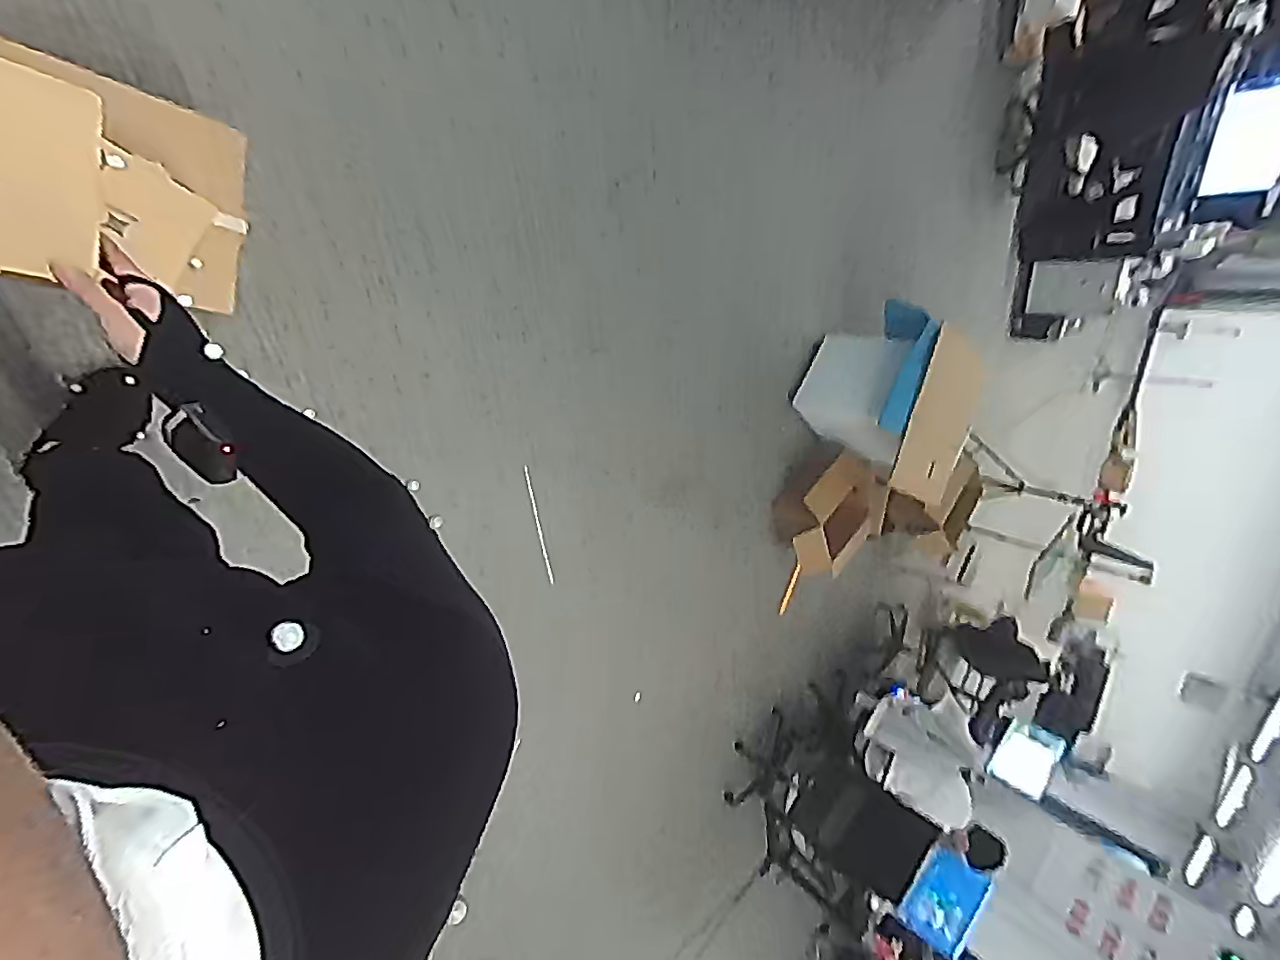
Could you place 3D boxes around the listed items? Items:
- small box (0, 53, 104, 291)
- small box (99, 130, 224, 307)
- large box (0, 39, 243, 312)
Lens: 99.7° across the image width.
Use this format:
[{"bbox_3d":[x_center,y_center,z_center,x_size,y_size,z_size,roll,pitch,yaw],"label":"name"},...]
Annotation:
[{"bbox_3d":[-0.609,-0.281,0.489,0.168,0.176,0.179,0,102,-47],"label":"small box"},{"bbox_3d":[-0.754,-0.378,0.791,0.168,0.176,0.179,30,85,-44],"label":"small box"},{"bbox_3d":[-0.943,-0.491,0.921,0.408,0.320,0.320,3,103,-42],"label":"large box"}]
